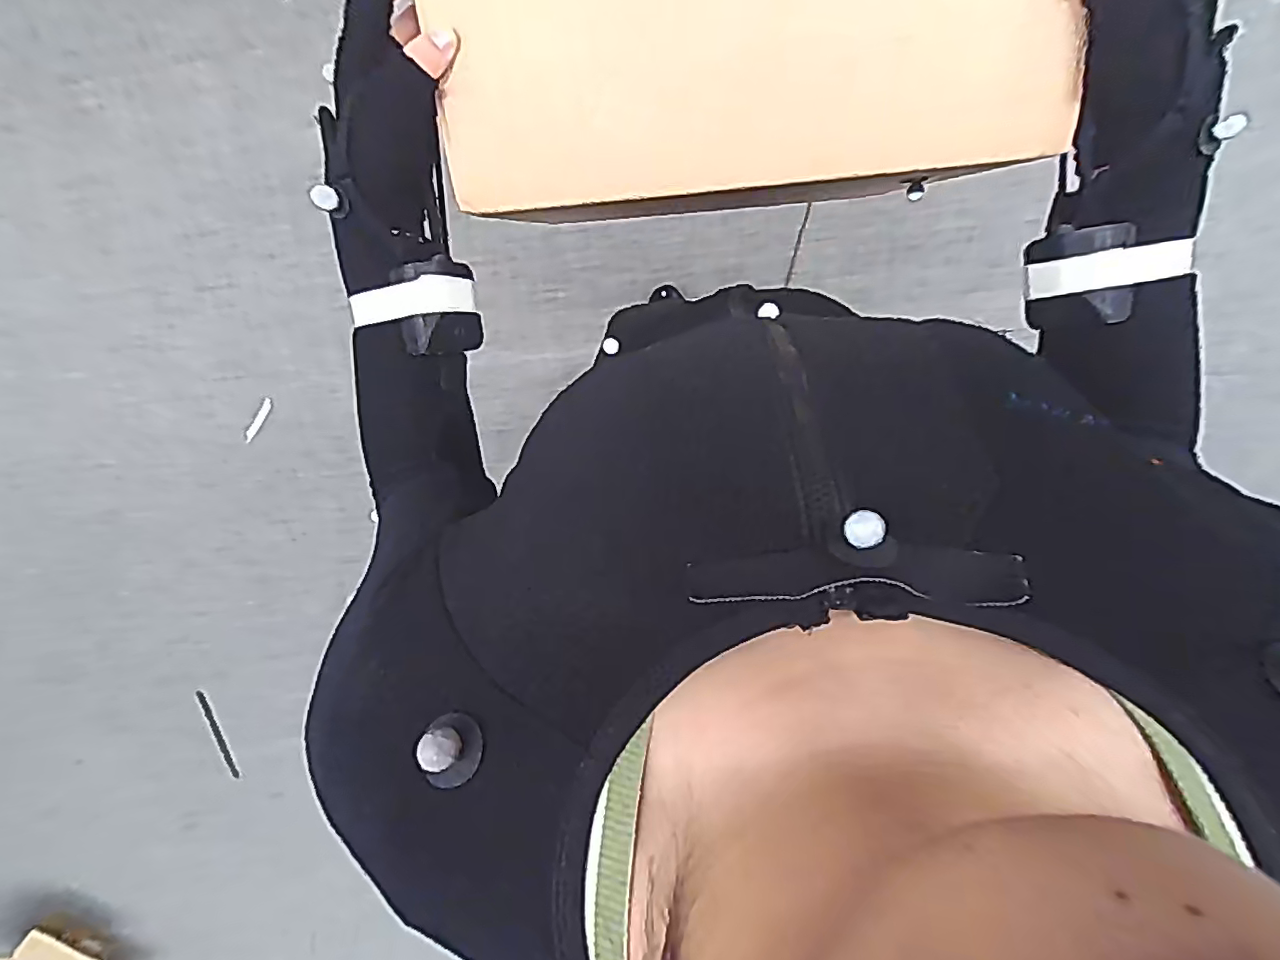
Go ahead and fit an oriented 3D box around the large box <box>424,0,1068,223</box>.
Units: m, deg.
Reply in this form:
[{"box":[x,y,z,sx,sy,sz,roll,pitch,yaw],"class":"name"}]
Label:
[{"box":[0.064,-0.402,0.449,0.408,0.320,0.320,-4,113,3],"class":"large box"}]
